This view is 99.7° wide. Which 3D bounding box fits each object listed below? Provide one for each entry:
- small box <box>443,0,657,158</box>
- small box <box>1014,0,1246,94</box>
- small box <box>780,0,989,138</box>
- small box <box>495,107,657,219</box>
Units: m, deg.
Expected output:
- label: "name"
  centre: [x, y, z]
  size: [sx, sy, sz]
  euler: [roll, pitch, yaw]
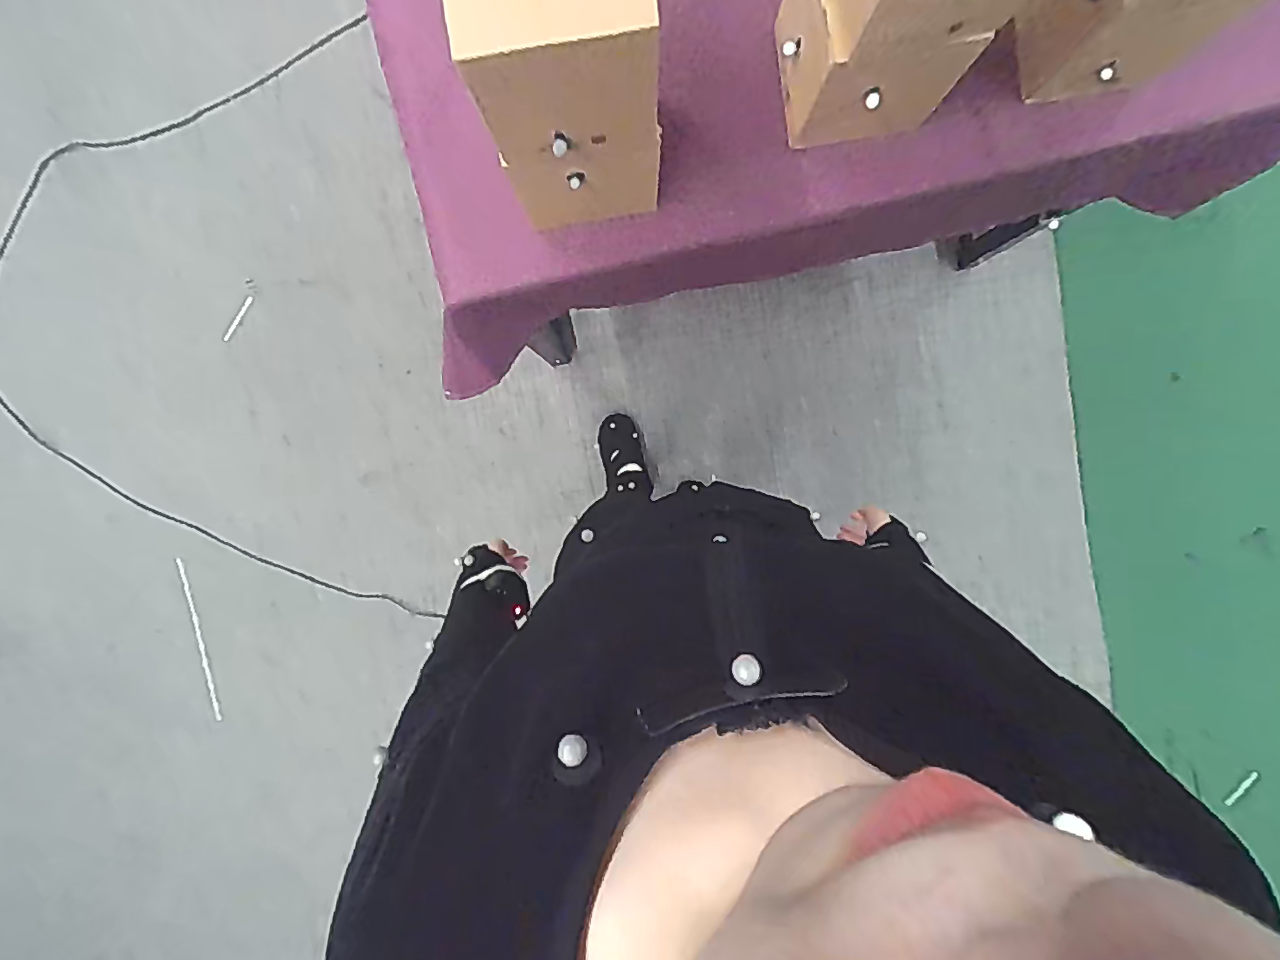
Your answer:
- label: "small box"
  centre: [-0.077, -0.436, 0.495]
  size: [0.168, 0.176, 0.179]
  euler: [-8, 94, 2]
- label: "small box"
  centre: [0.579, -0.607, 0.641]
  size: [0.168, 0.176, 0.179]
  euler: [-7, 94, 2]
- label: "small box"
  centre: [0.274, -0.545, 0.648]
  size: [0.179, 0.176, 0.168]
  euler: [-8, 93, 2]
- label: "small box"
  centre: [-0.077, -0.442, 0.659]
  size: [0.179, 0.176, 0.168]
  euler: [-9, 93, 0]
